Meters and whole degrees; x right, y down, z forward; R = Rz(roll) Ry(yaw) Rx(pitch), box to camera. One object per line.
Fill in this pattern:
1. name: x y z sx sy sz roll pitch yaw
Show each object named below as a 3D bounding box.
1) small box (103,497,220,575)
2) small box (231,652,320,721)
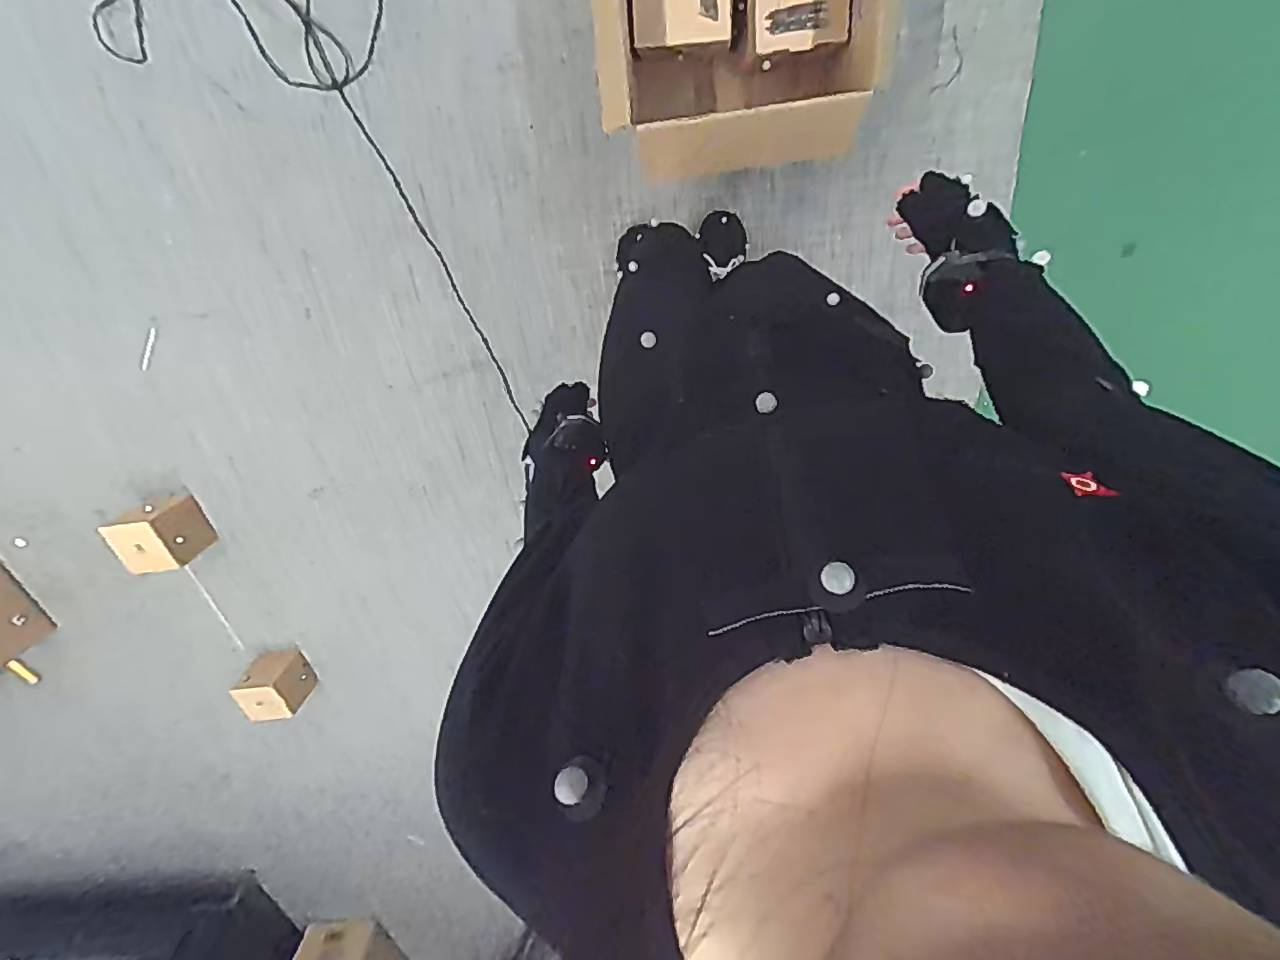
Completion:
1. small box: -1.462 0.165 1.665 0.168 0.176 0.179 -8 119 6
2. small box: -1.332 0.756 1.988 0.179 0.176 0.168 -7 119 7
